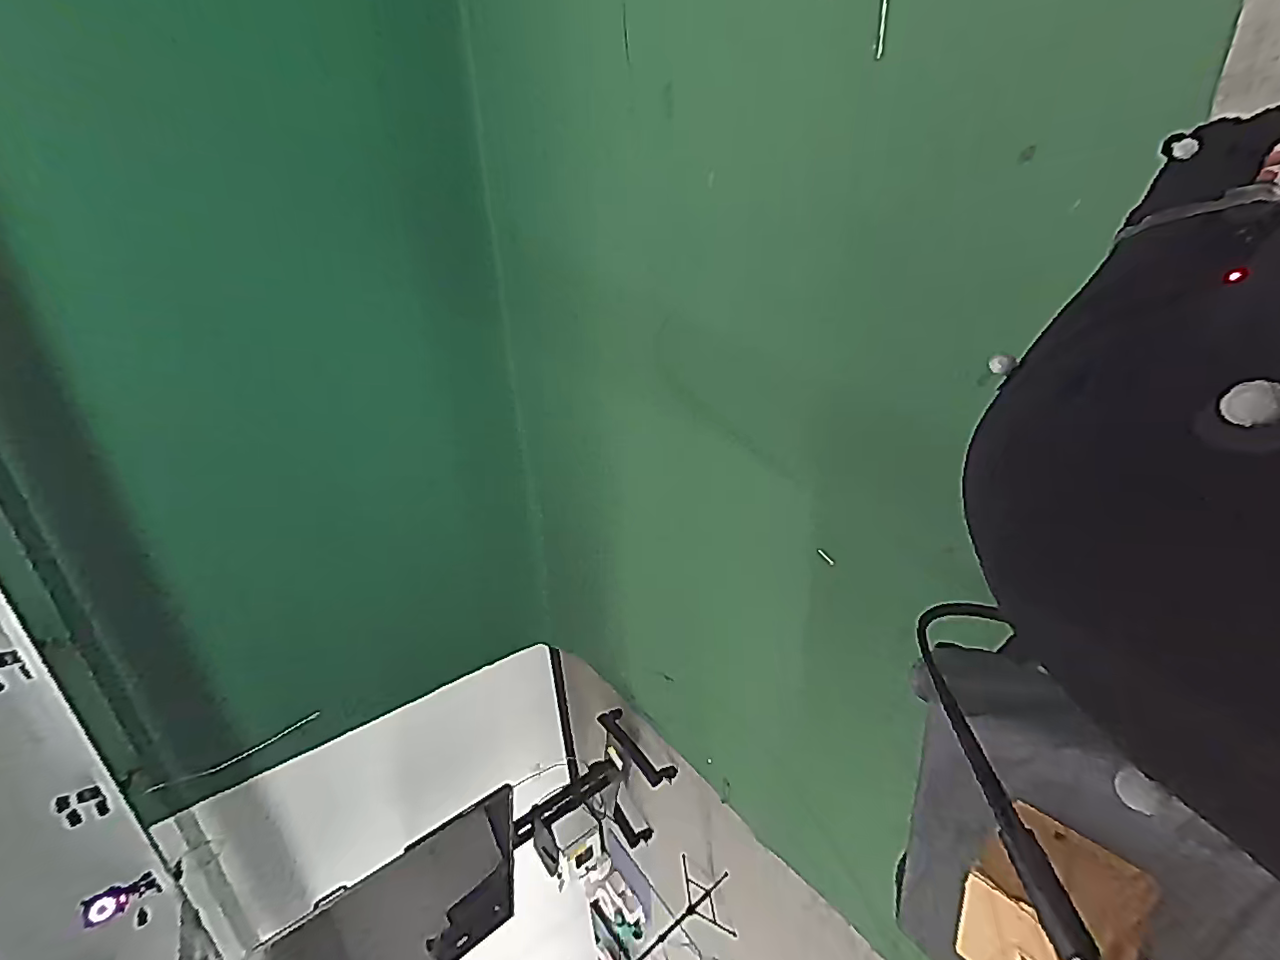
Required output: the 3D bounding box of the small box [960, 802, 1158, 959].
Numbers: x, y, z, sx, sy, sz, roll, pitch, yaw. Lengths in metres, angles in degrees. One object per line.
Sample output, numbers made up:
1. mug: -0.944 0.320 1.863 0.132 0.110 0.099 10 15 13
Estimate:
1. small box: 0.576 0.600 0.749 0.168 0.176 0.179 20 124 51
